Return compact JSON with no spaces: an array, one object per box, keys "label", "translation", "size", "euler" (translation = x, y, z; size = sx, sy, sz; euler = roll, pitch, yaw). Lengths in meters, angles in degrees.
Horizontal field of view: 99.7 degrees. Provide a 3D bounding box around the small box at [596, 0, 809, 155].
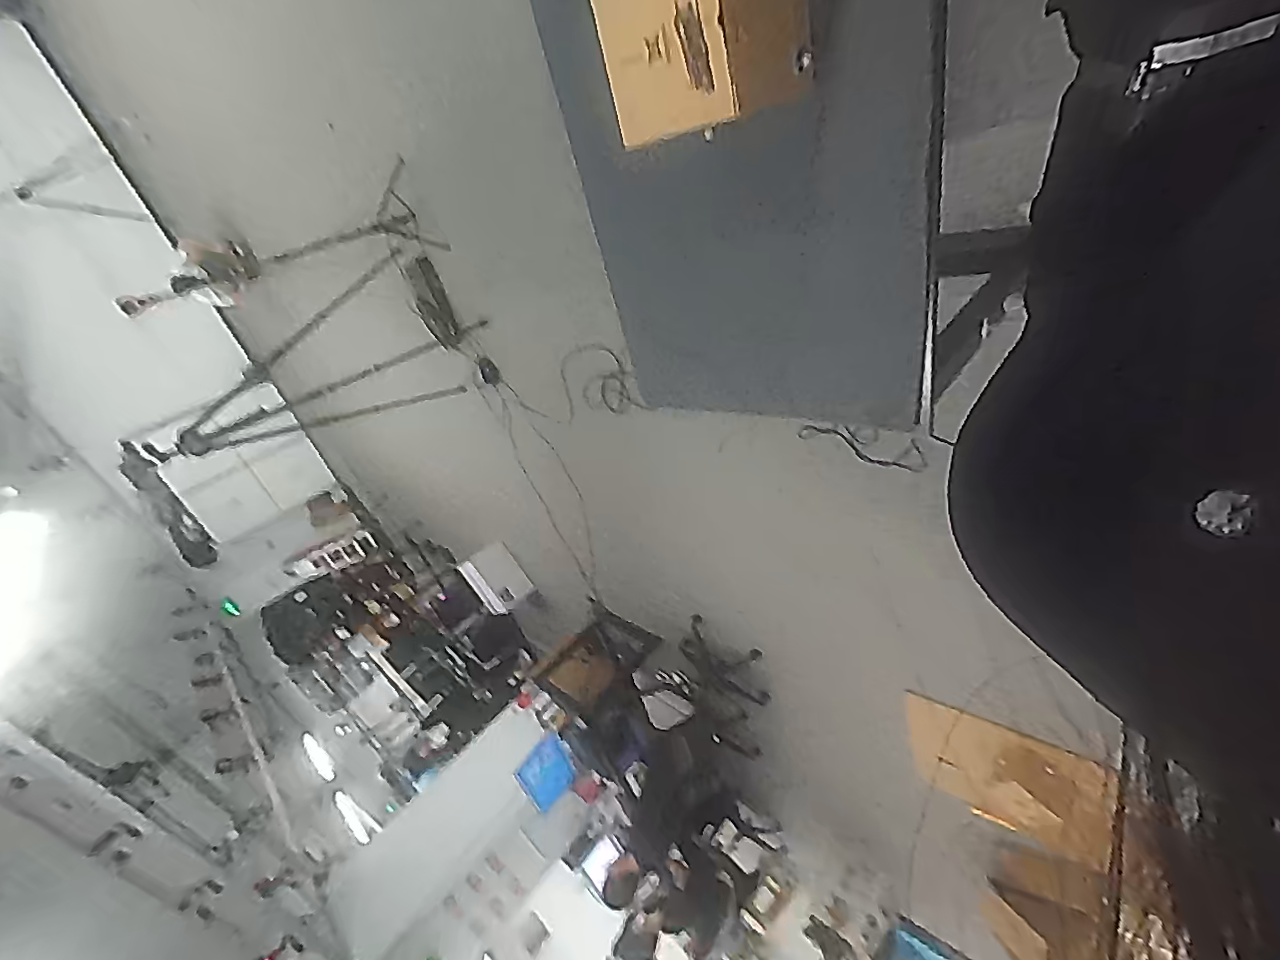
[{"label":"small box","translation":[0.084,-0.506,0.635],"size":[0.179,0.176,0.168],"euler":[16,133,44]}]
